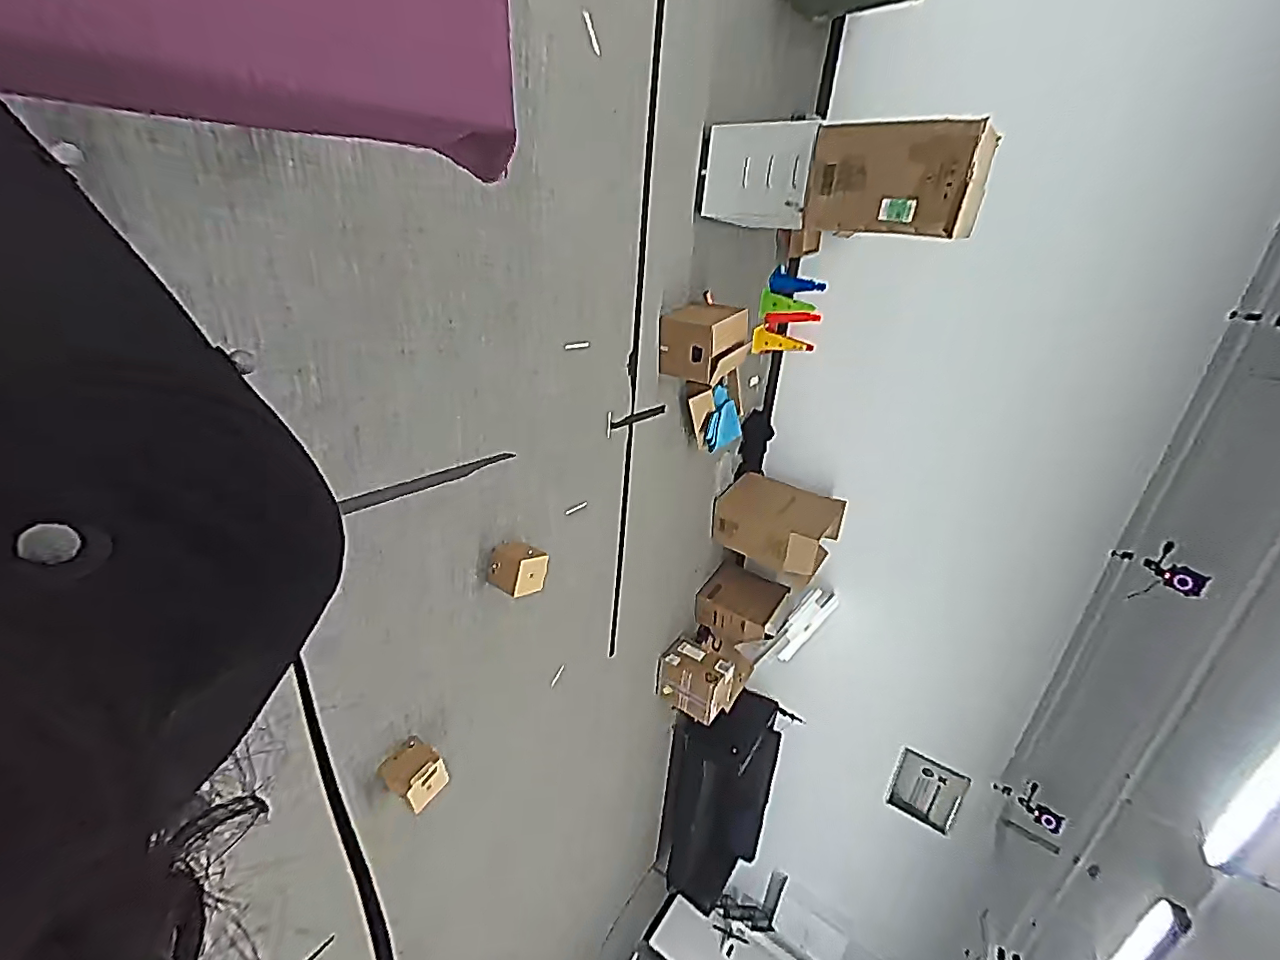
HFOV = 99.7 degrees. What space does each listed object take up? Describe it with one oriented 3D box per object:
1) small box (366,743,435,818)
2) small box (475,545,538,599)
[{"bbox_3d":[-0.944,1.173,2.126,0.168,0.176,0.179,-39,139,-44],"label":"small box"},{"bbox_3d":[-0.565,0.383,2.290,0.179,0.176,0.168,-2,107,-59],"label":"small box"}]
